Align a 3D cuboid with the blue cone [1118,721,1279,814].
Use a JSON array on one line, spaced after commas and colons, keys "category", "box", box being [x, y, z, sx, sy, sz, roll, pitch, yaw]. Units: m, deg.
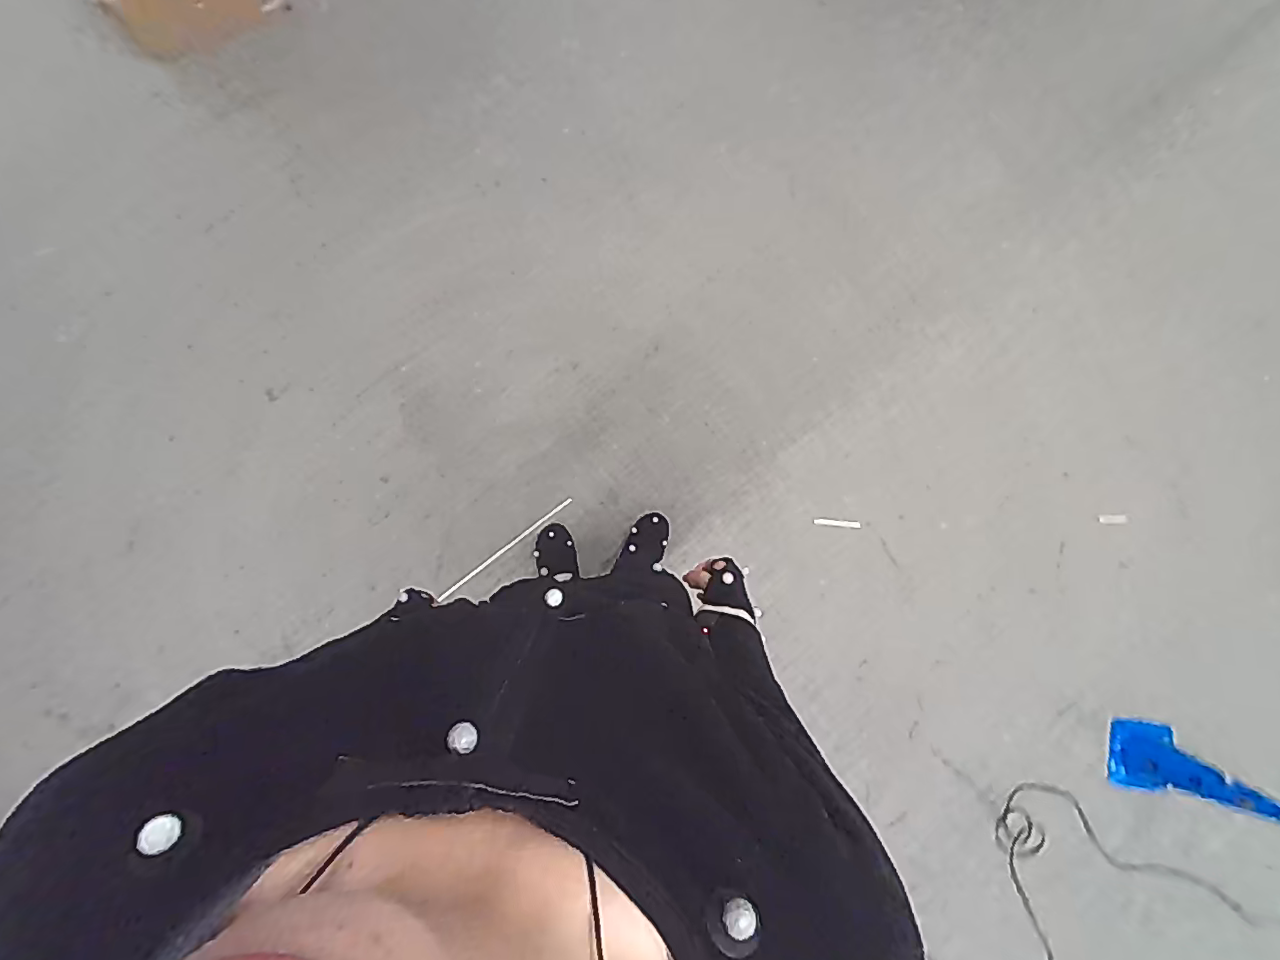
[{"category": "blue cone", "box": [1.525, 0.800, 1.446, 0.192, 0.380, 0.193, 6, 84, -4]}]
